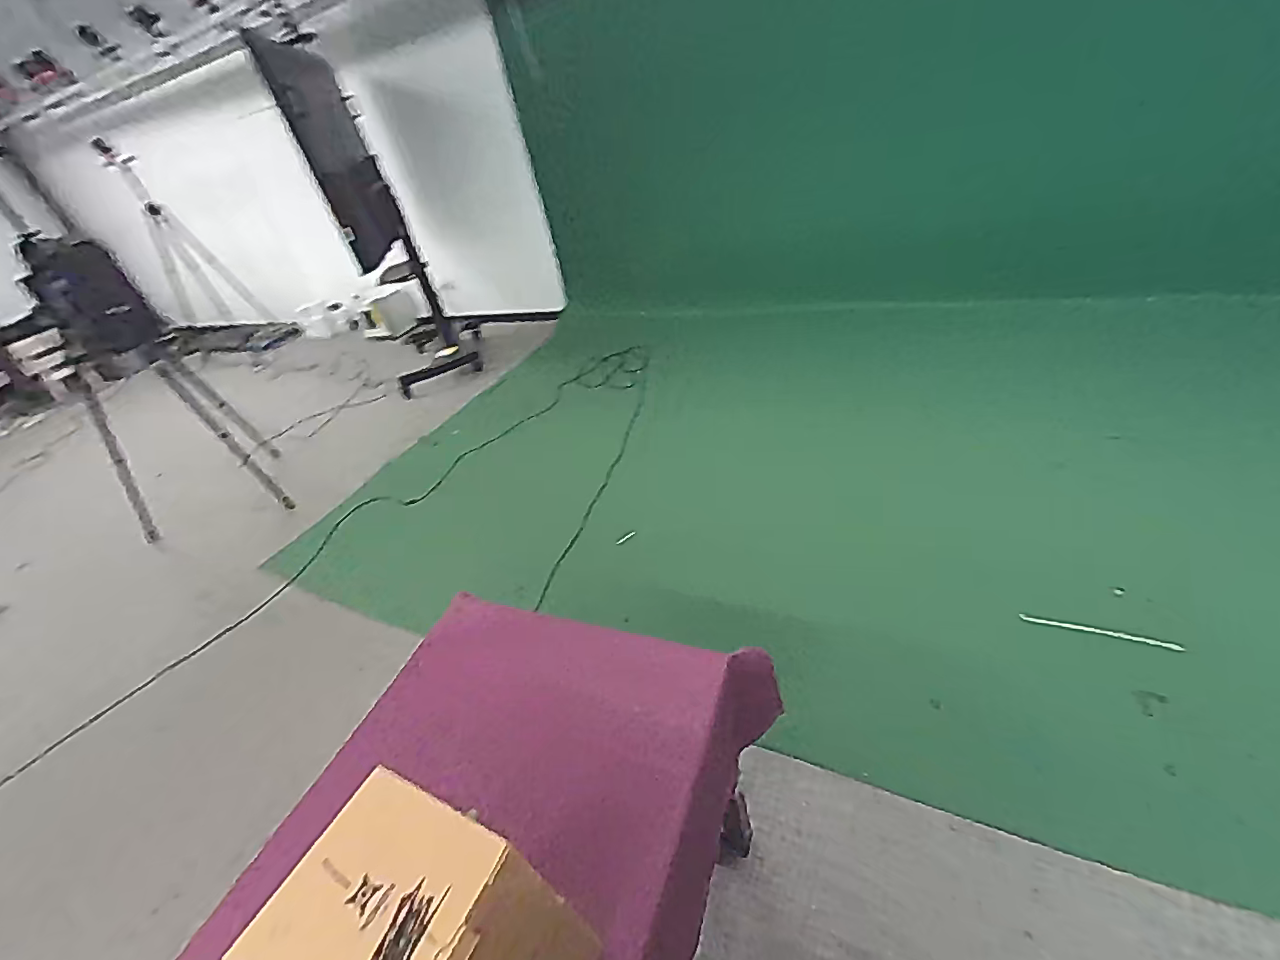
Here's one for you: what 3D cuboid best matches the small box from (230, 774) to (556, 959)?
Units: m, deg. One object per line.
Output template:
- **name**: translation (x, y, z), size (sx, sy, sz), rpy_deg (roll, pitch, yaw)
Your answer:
- **small box**: translation (-0.203, 0.412, 0.489), size (0.179, 0.176, 0.168), rpy_deg (7, 41, 29)
